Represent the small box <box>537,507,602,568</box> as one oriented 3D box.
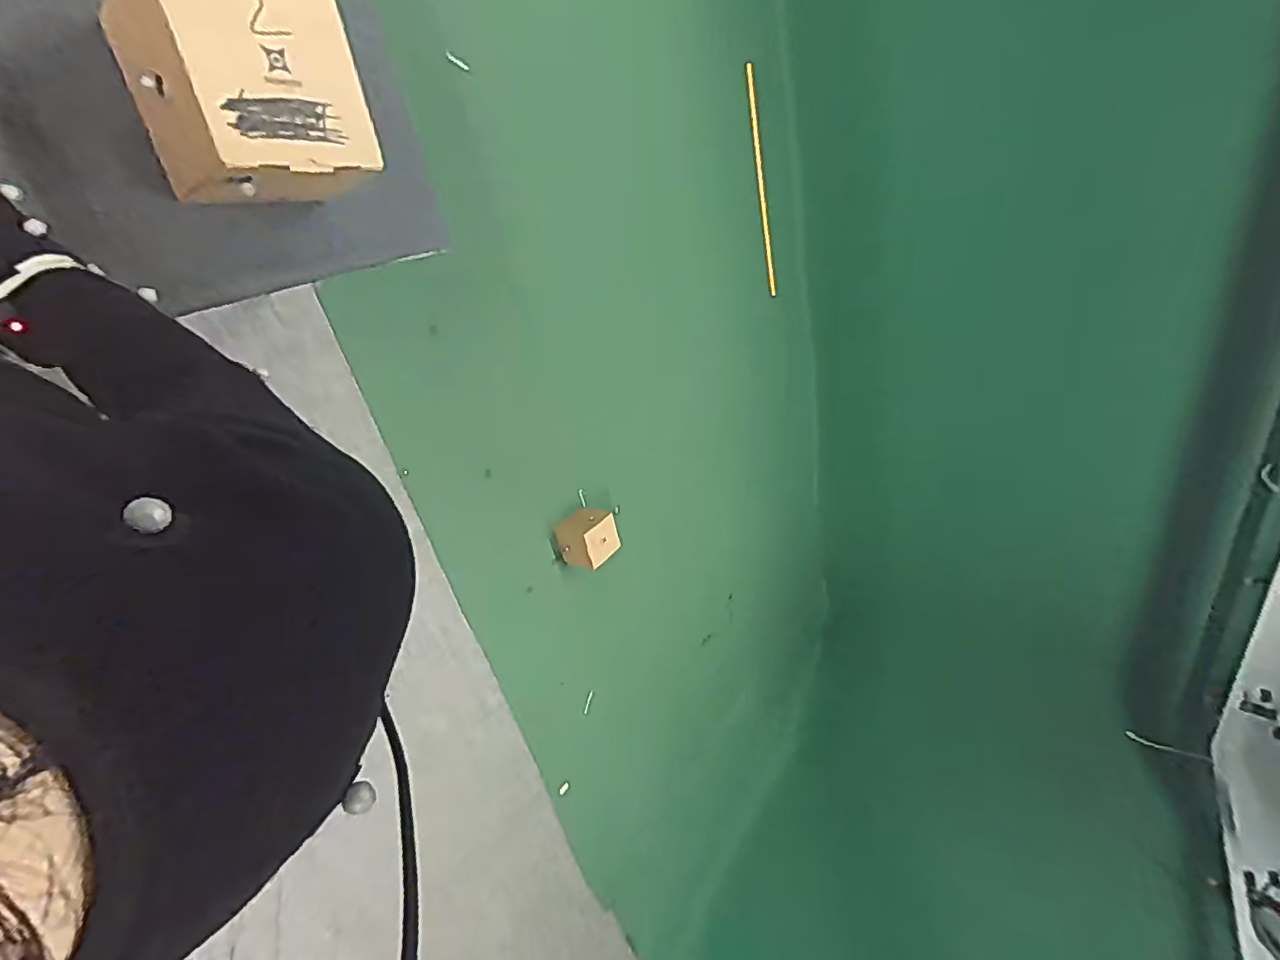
[{"bbox_3d":[-0.283,0.224,2.168,0.179,0.176,0.168,-40,127,-44],"label":"small box"}]
